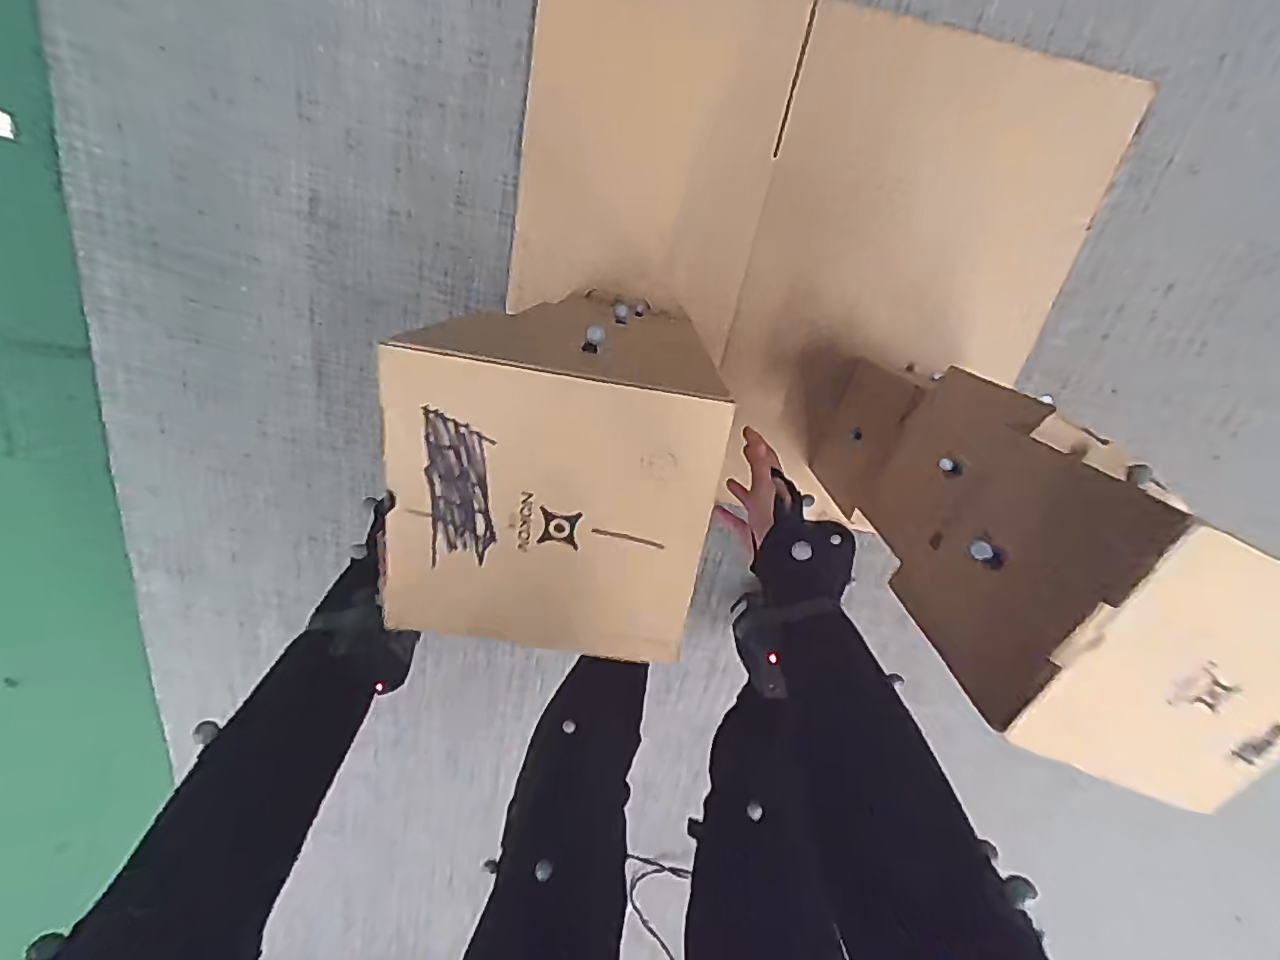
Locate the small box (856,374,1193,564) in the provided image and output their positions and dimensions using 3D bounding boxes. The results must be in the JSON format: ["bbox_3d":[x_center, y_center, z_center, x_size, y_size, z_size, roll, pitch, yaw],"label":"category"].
[{"bbox_3d":[0.350,0.018,0.534,0.168,0.176,0.179,31,110,-11],"label":"small box"}]

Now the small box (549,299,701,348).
[{"bbox_3d":[-0.027,-0.116,0.669,0.168,0.176,0.179,10,112,-3],"label":"small box"}]

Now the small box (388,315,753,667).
[{"bbox_3d":[-0.043,-0.008,0.358,0.179,0.176,0.168,9,112,-3],"label":"small box"}]

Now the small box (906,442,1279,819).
[{"bbox_3d":[0.333,0.089,0.387,0.179,0.176,0.168,23,111,-8],"label":"small box"}]
